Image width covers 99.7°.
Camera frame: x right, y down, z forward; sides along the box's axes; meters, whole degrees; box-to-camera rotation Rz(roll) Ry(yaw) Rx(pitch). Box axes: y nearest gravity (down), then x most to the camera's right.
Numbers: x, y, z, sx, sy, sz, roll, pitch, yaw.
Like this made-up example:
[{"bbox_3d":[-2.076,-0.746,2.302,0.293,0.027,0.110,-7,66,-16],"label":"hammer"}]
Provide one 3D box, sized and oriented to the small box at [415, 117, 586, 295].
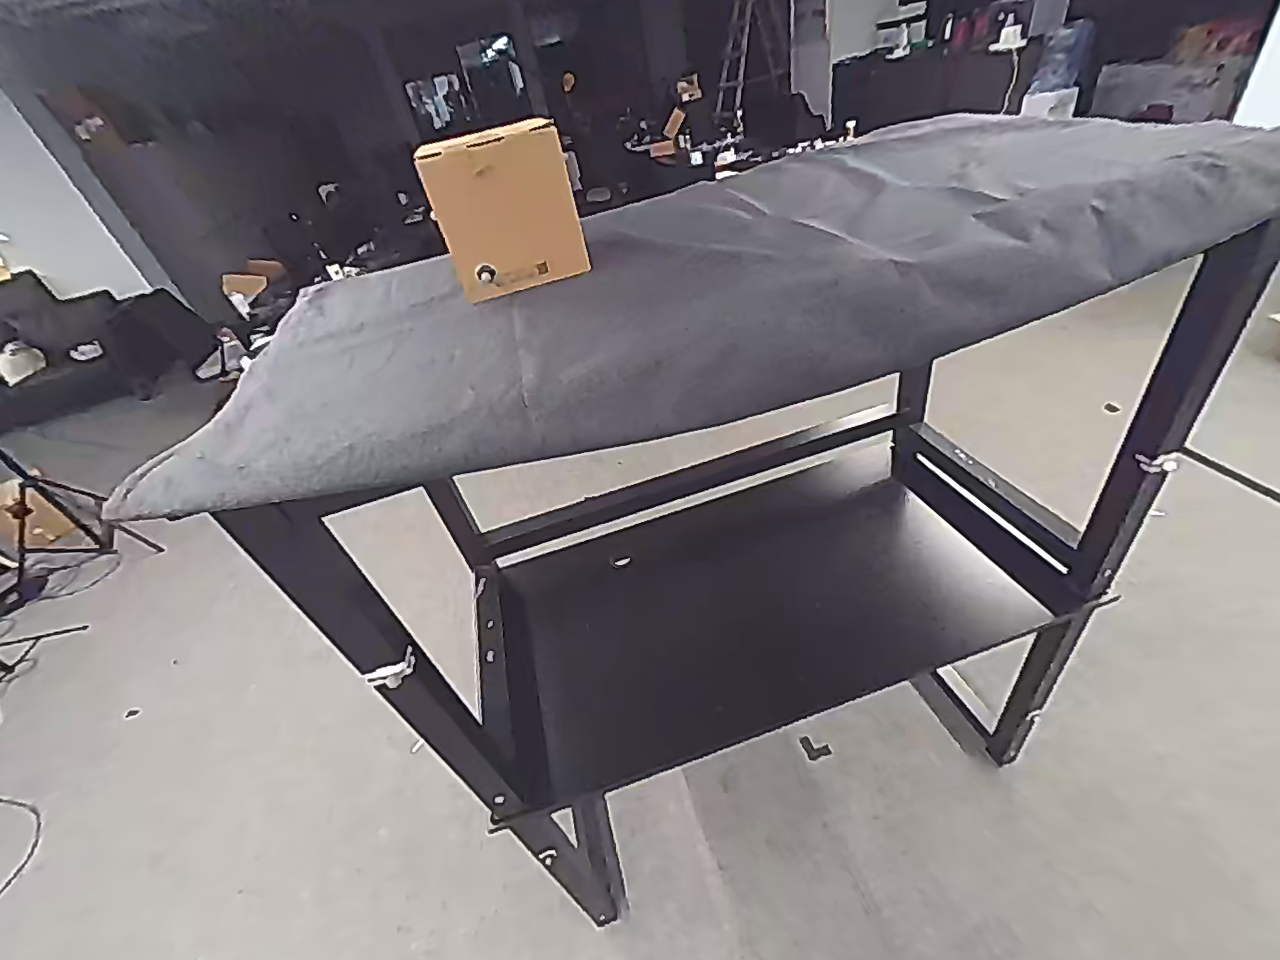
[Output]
[{"bbox_3d":[-0.179,-0.362,0.721,0.168,0.176,0.179,-18,37,-5],"label":"small box"}]
